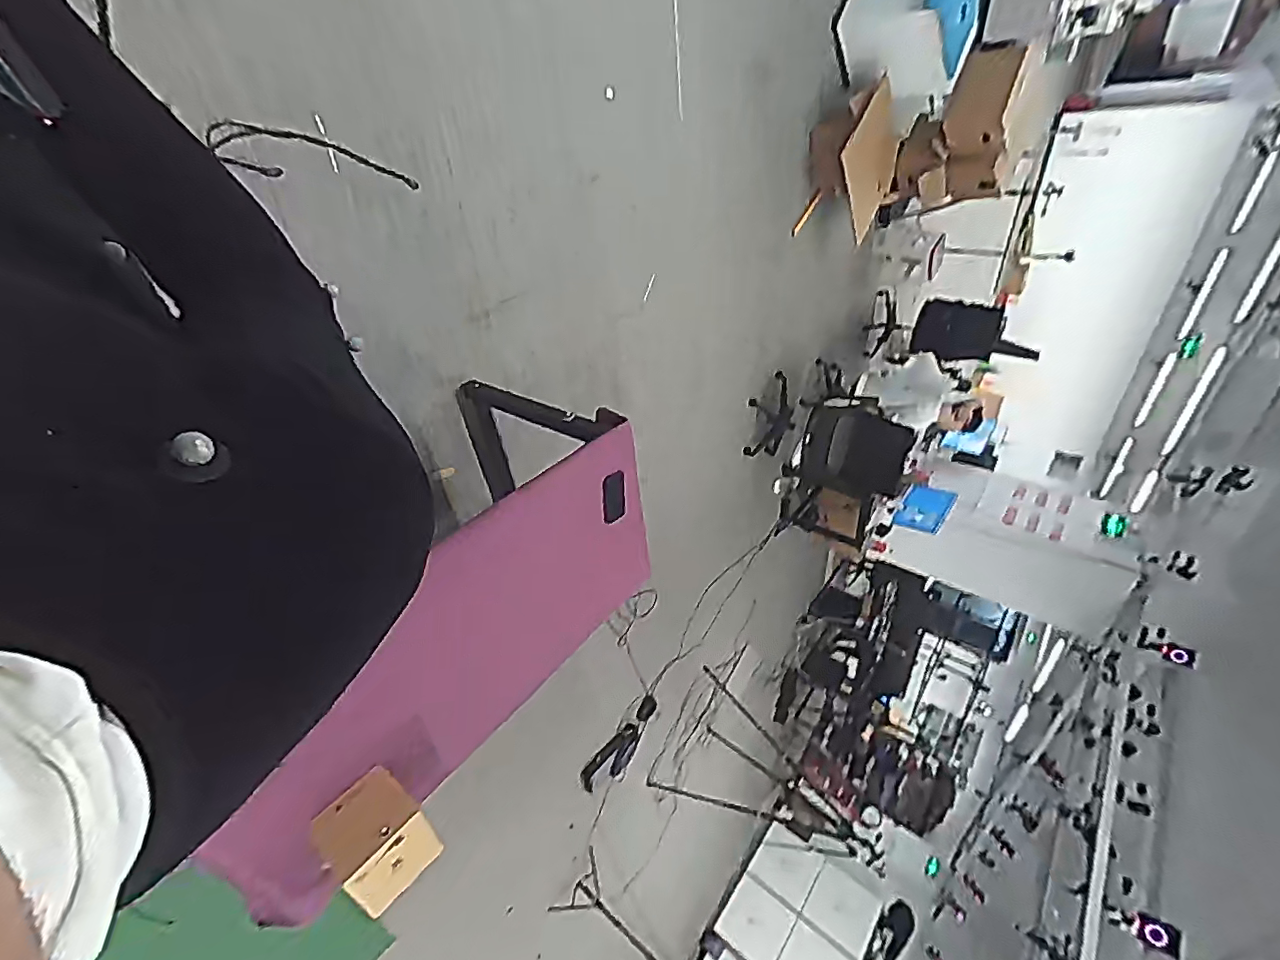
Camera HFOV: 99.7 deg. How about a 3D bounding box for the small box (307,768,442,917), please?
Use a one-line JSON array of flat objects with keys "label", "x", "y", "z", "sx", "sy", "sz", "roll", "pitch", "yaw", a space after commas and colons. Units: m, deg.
[{"label": "small box", "x": -0.552, "y": 0.748, "z": 1.133, "sx": 0.168, "sy": 0.176, "sz": 0.179, "roll": -38, "pitch": 136, "yaw": -38}]
